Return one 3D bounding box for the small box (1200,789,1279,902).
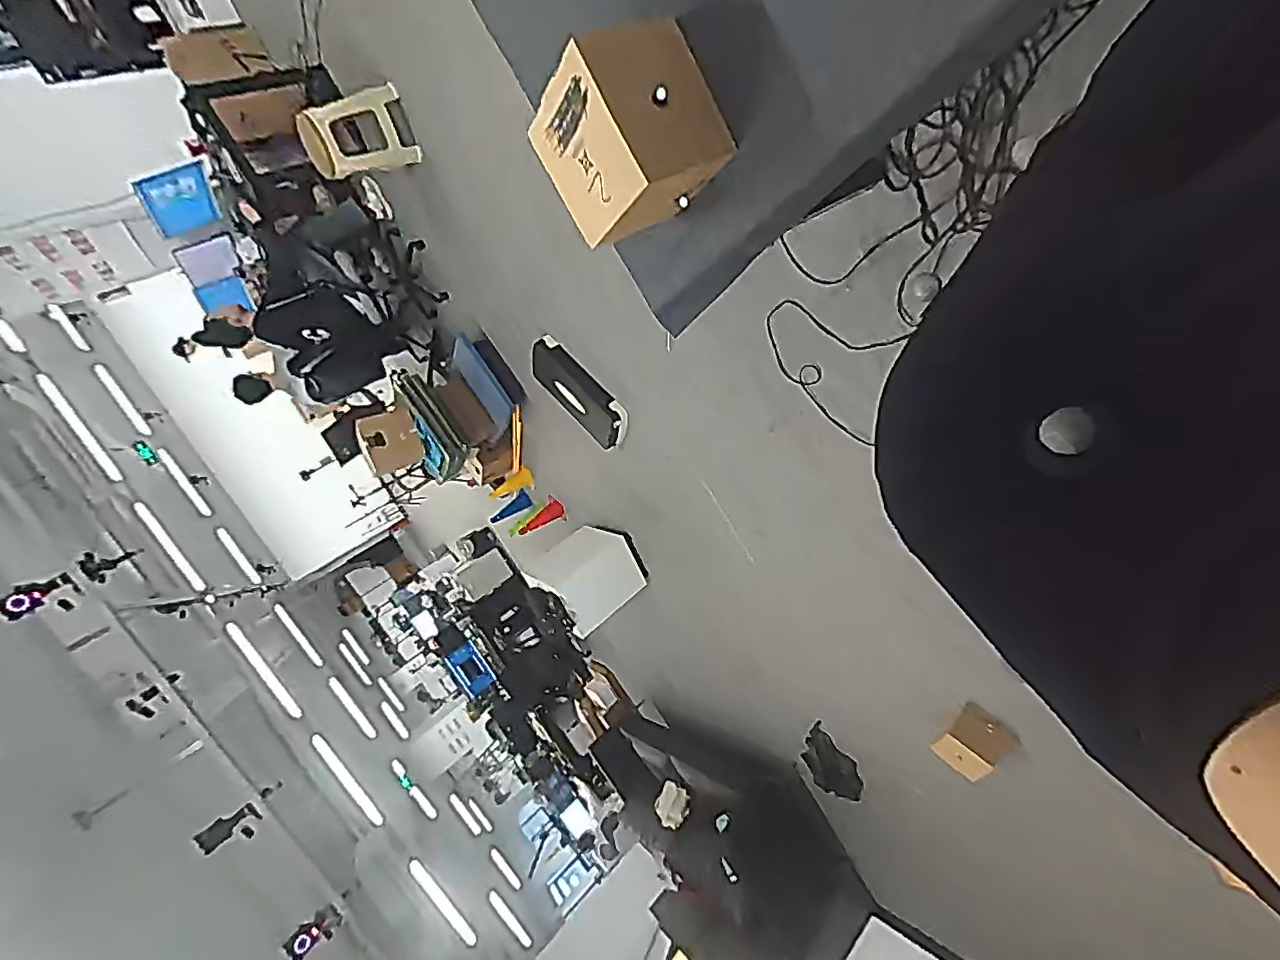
[{"bbox_3d":[1.568,0.916,1.350,0.168,0.176,0.179,57,153,-6],"label":"small box"}]

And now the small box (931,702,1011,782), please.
[{"bbox_3d":[1.206,0.951,1.968,0.168,0.176,0.179,36,147,29],"label":"small box"}]
